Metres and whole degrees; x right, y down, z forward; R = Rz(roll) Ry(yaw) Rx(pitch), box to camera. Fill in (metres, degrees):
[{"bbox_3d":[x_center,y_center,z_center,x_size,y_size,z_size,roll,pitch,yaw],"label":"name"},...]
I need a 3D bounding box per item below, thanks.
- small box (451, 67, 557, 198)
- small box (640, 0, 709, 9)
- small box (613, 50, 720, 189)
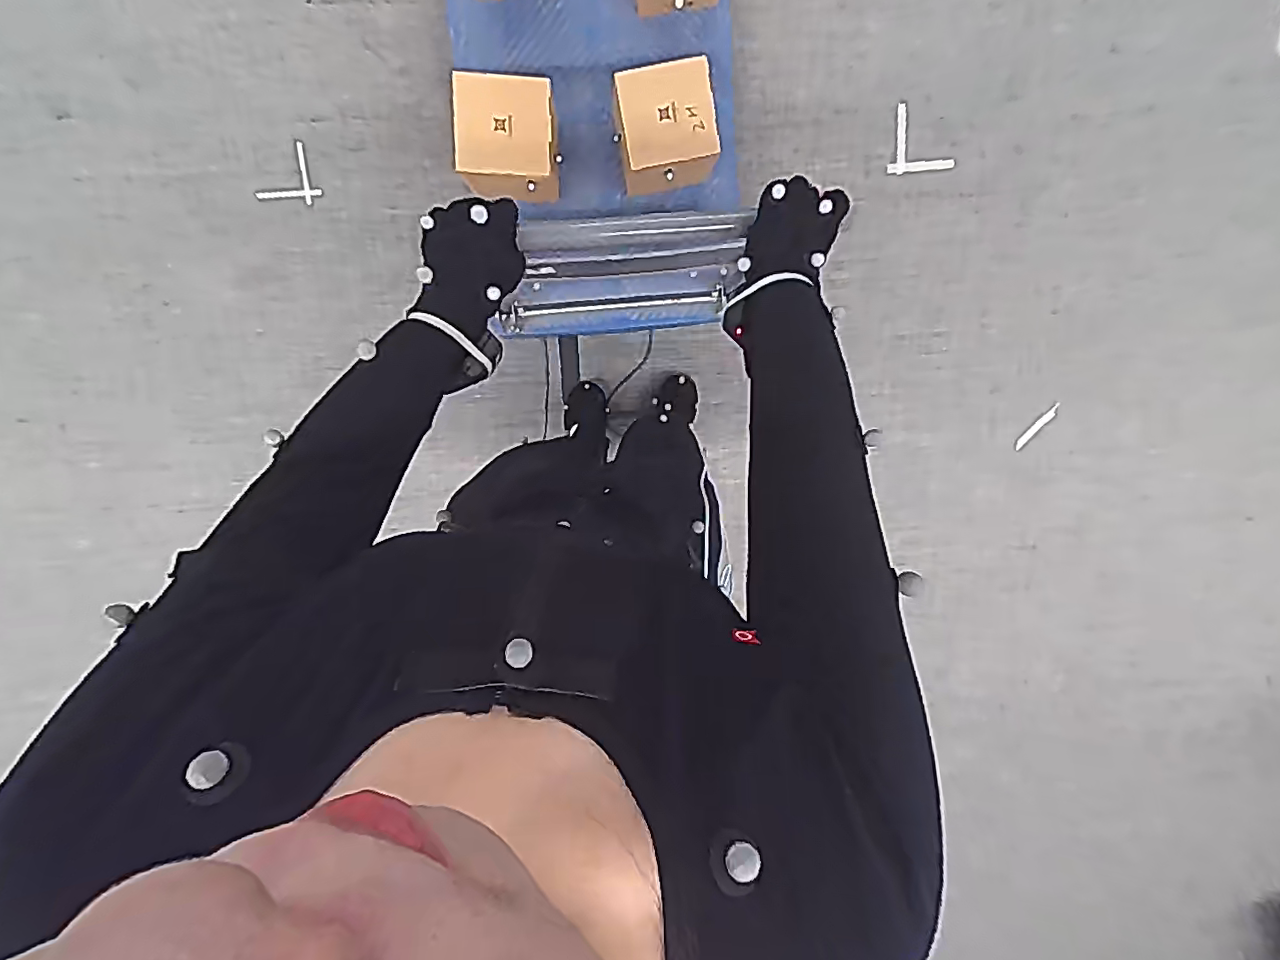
[{"bbox_3d":[-0.256,-0.665,1.054,0.179,0.176,0.168,0,102,-5],"label":"small box"},{"bbox_3d":[0.069,-1.024,0.991,0.168,0.176,0.179,-9,104,-1],"label":"small box"},{"bbox_3d":[0.047,-0.696,1.065,0.179,0.176,0.168,-12,103,-1],"label":"small box"}]
